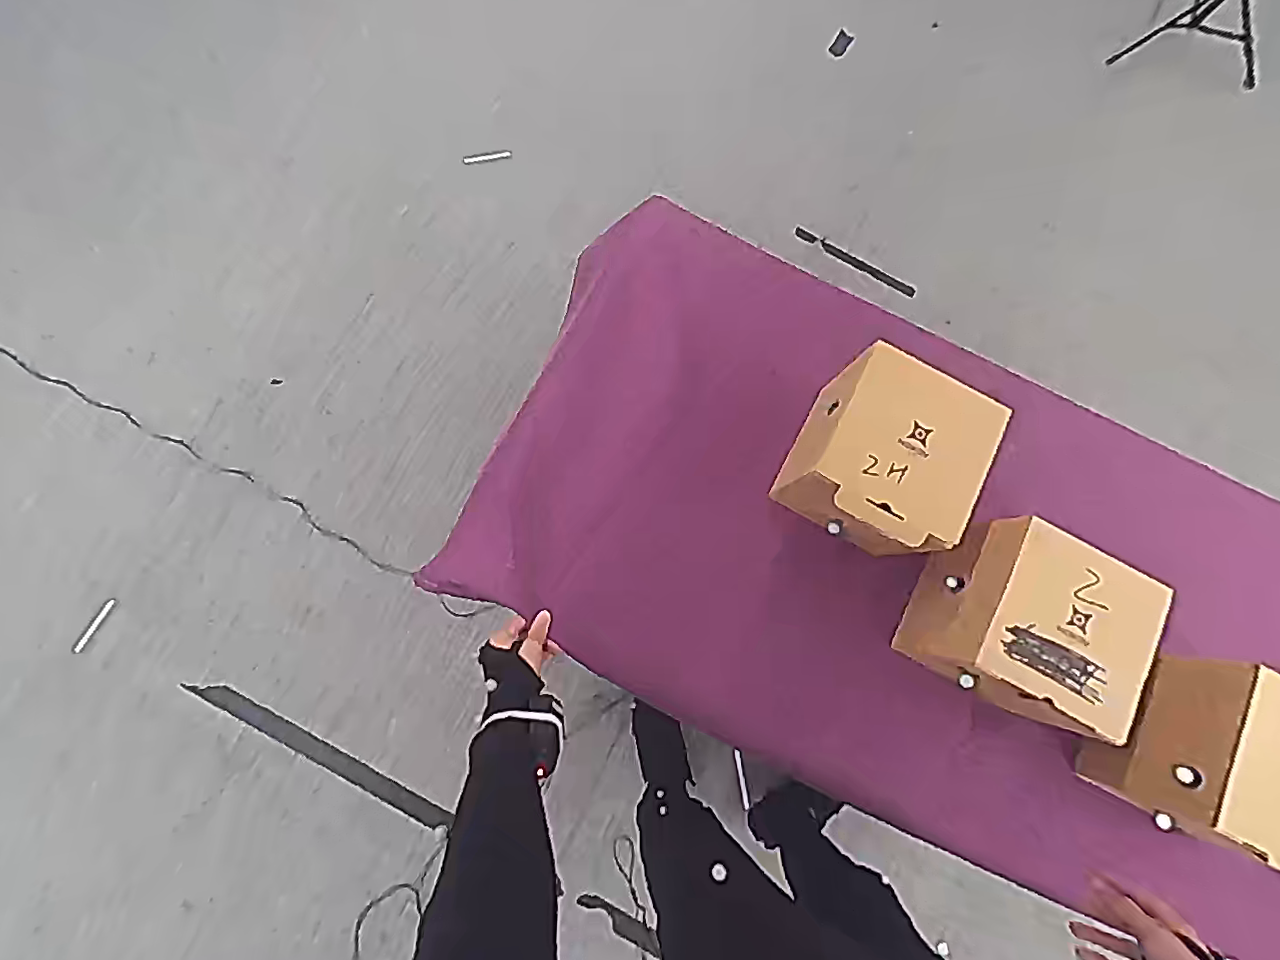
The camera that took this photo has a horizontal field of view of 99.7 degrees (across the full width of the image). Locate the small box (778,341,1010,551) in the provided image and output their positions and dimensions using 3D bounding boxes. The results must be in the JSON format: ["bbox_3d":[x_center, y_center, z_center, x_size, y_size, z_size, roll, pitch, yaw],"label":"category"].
[{"bbox_3d":[0.290,-0.028,0.656,0.168,0.176,0.179,29,80,3],"label":"small box"}]

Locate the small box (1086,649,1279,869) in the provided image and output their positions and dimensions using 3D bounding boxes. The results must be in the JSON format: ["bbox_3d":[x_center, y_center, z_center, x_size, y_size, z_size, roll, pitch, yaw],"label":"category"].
[{"bbox_3d":[0.666,0.313,0.615,0.168,0.176,0.179,27,80,2],"label":"small box"}]
